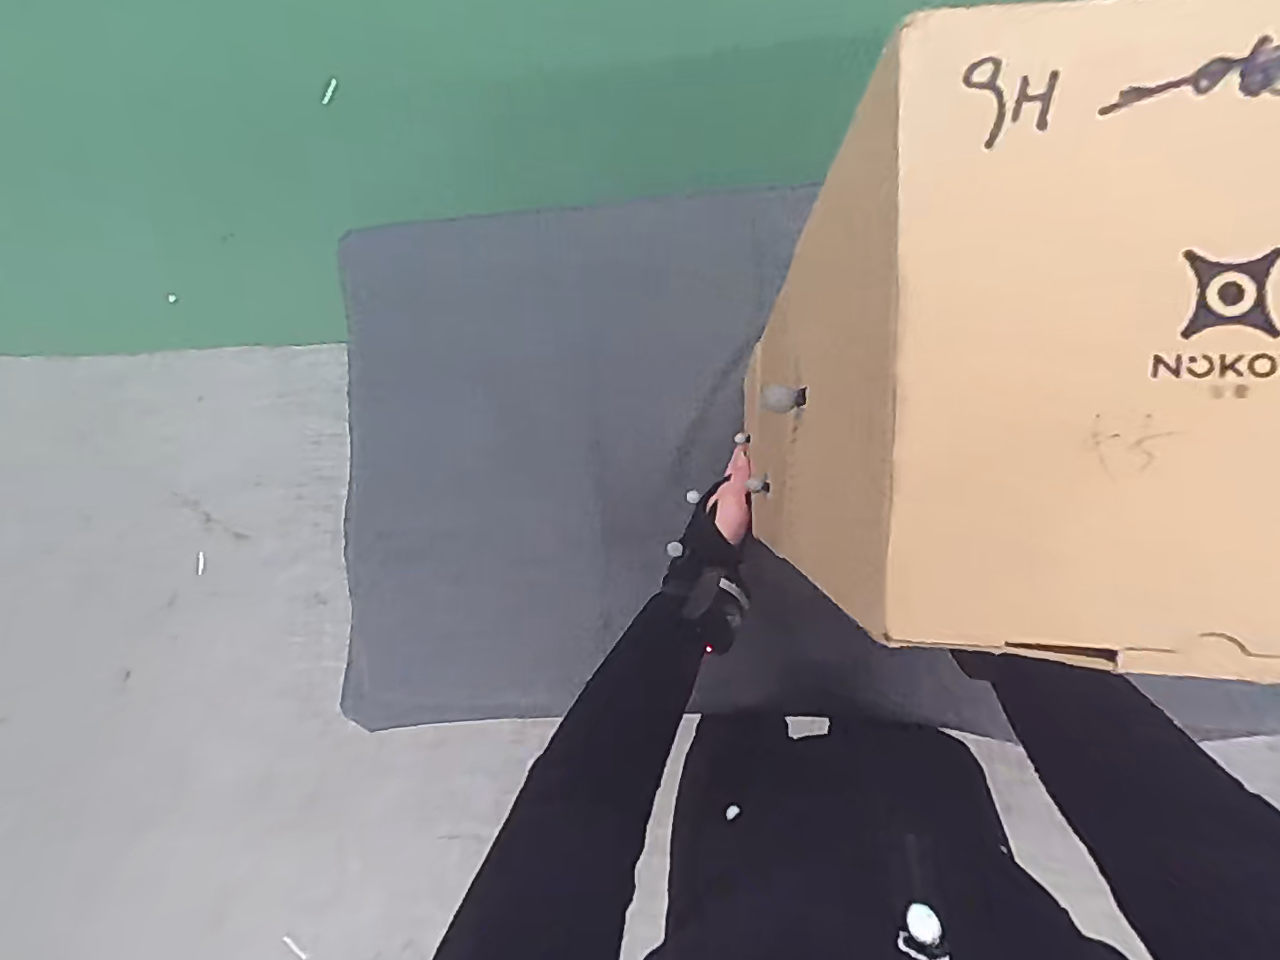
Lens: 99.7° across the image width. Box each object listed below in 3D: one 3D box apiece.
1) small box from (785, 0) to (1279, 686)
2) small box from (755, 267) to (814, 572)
[{"bbox_3d":[0.156,-0.036,0.215,0.168,0.176,0.179,1,91,6],"label":"small box"},{"bbox_3d":[0.174,-0.032,0.378,0.168,0.176,0.179,1,88,6],"label":"small box"}]
